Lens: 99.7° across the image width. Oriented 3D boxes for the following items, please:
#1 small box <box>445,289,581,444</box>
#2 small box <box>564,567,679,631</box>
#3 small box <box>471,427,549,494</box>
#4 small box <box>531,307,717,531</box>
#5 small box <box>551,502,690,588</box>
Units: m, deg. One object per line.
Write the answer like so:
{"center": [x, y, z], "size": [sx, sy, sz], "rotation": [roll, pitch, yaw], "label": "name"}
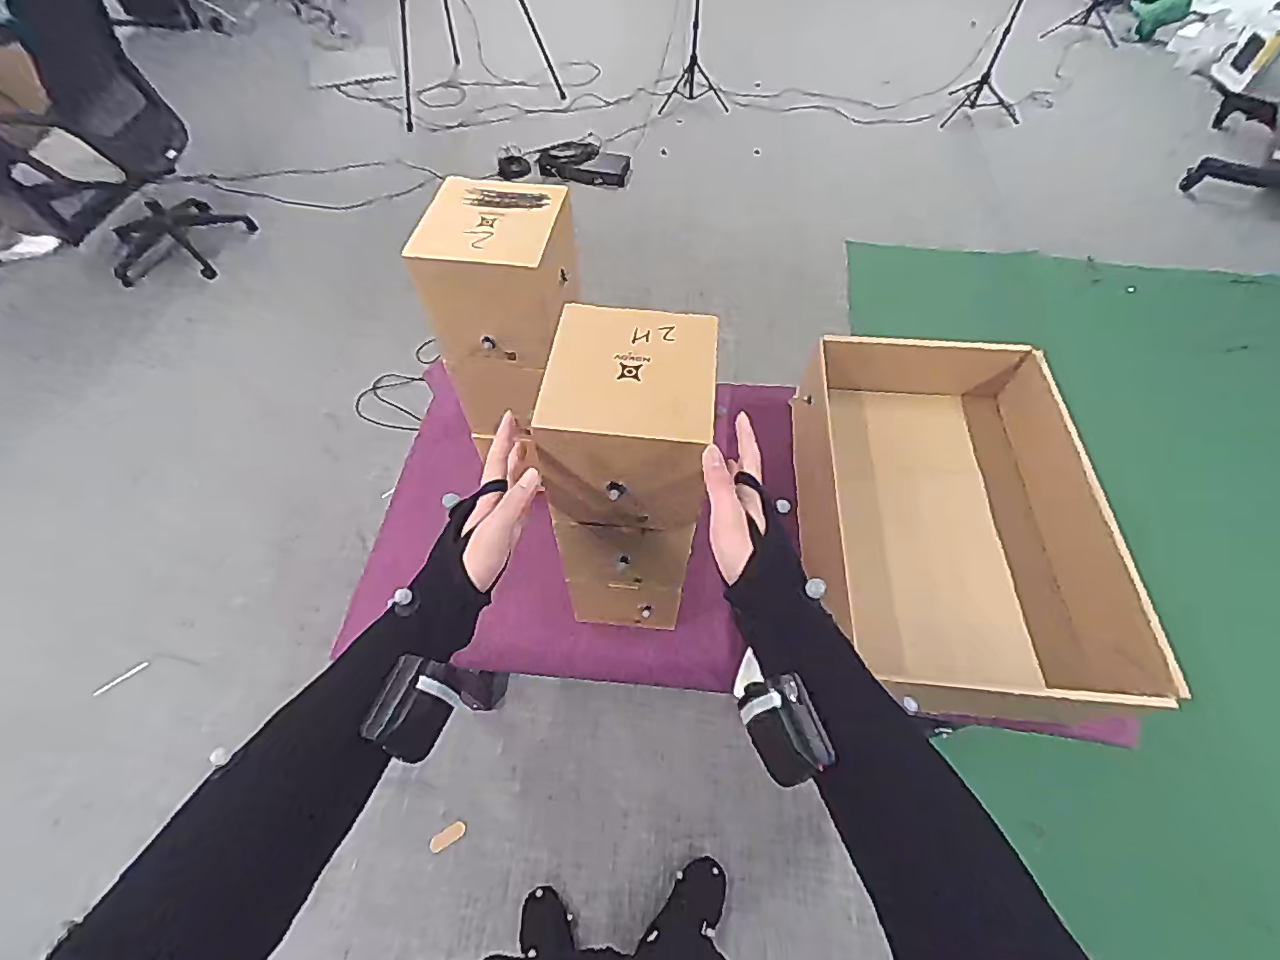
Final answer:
{"center": [-0.187, -0.179, 0.873], "size": [0.168, 0.176, 0.179], "rotation": [7, 57, 5], "label": "small box"}
{"center": [-0.018, 0.127, 0.865], "size": [0.168, 0.176, 0.179], "rotation": [5, 55, 3], "label": "small box"}
{"center": [-0.194, -0.085, 1.008], "size": [0.168, 0.176, 0.179], "rotation": [3, 55, 2], "label": "small box"}
{"center": [-0.010, -0.061, 0.595], "size": [0.168, 0.176, 0.179], "rotation": [6, 55, 3], "label": "small box"}
{"center": [-0.016, 0.032, 0.732], "size": [0.168, 0.176, 0.179], "rotation": [5, 56, 2], "label": "small box"}
